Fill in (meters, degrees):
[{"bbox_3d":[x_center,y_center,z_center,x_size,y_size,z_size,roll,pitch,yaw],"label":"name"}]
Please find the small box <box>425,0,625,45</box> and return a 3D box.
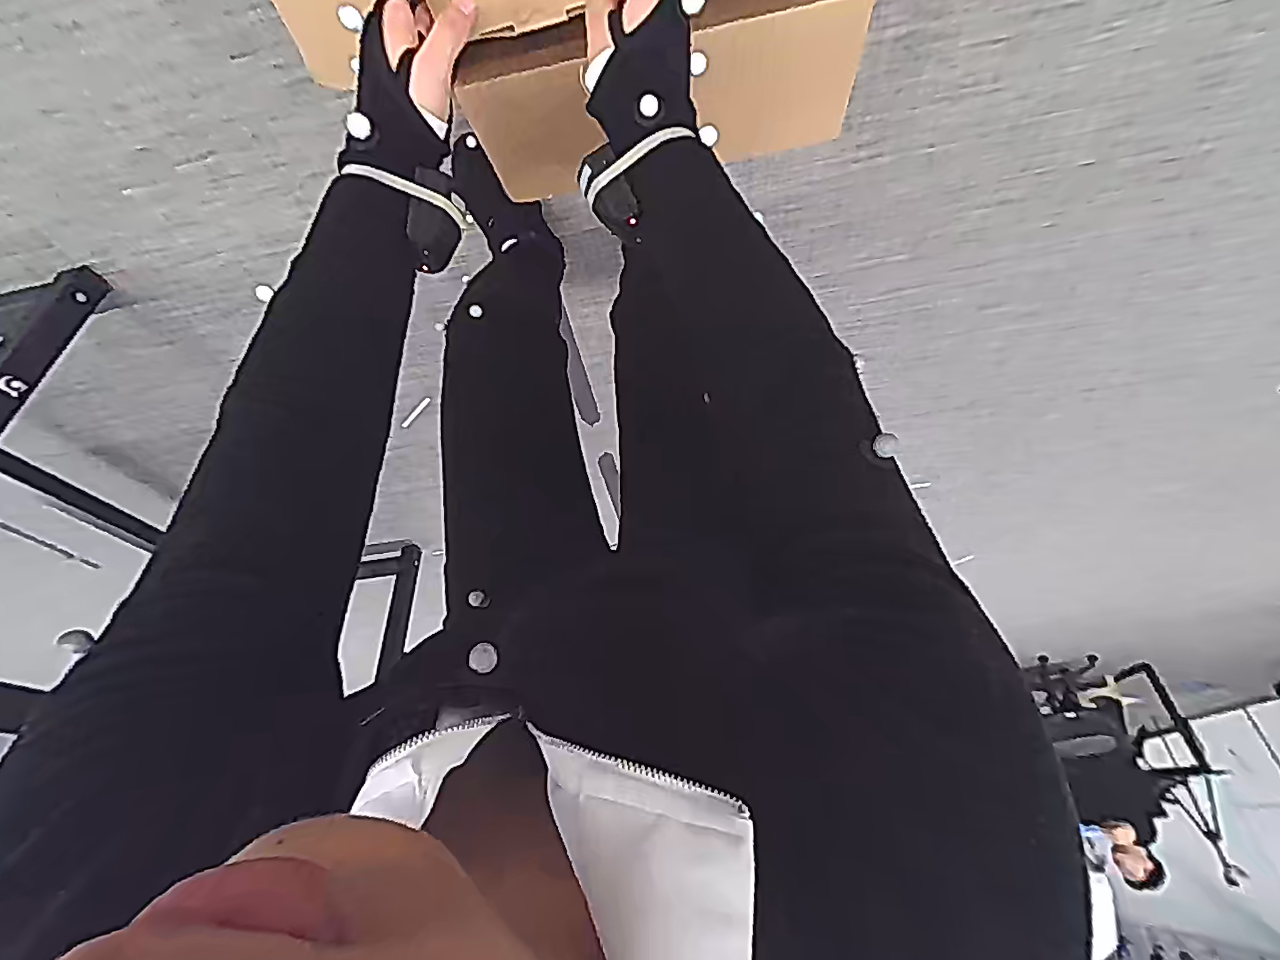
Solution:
[{"bbox_3d":[-0.093,-0.474,0.401,0.168,0.176,0.179,-4,144,13],"label":"small box"}]
